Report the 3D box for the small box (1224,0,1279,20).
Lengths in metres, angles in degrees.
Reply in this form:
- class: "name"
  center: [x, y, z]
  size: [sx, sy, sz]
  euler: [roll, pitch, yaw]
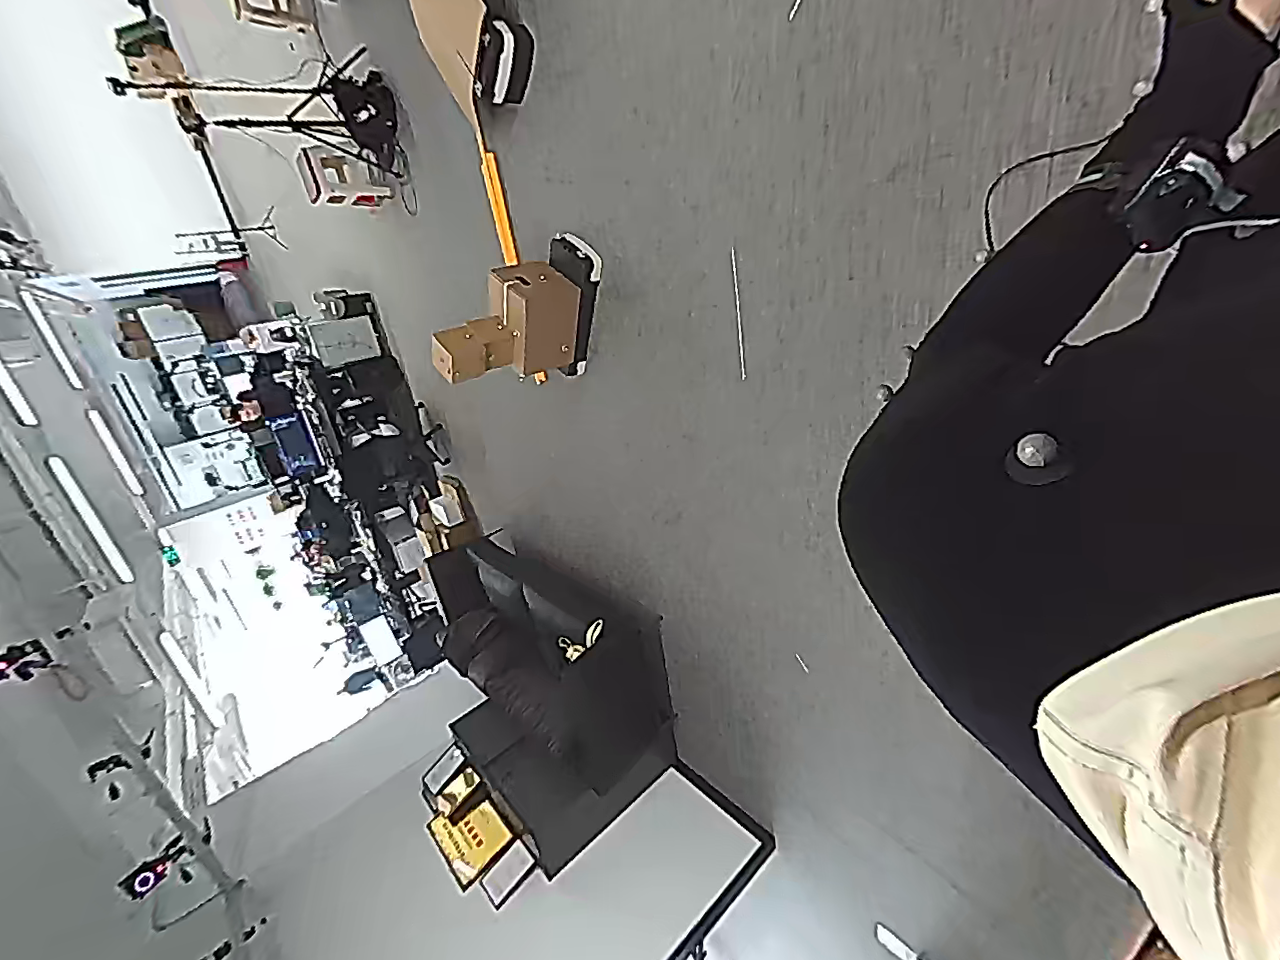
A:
- class: "small box"
  center: [0.523, -0.443, 0.344]
  size: [0.168, 0.176, 0.179]
  euler: [16, 128, 56]
